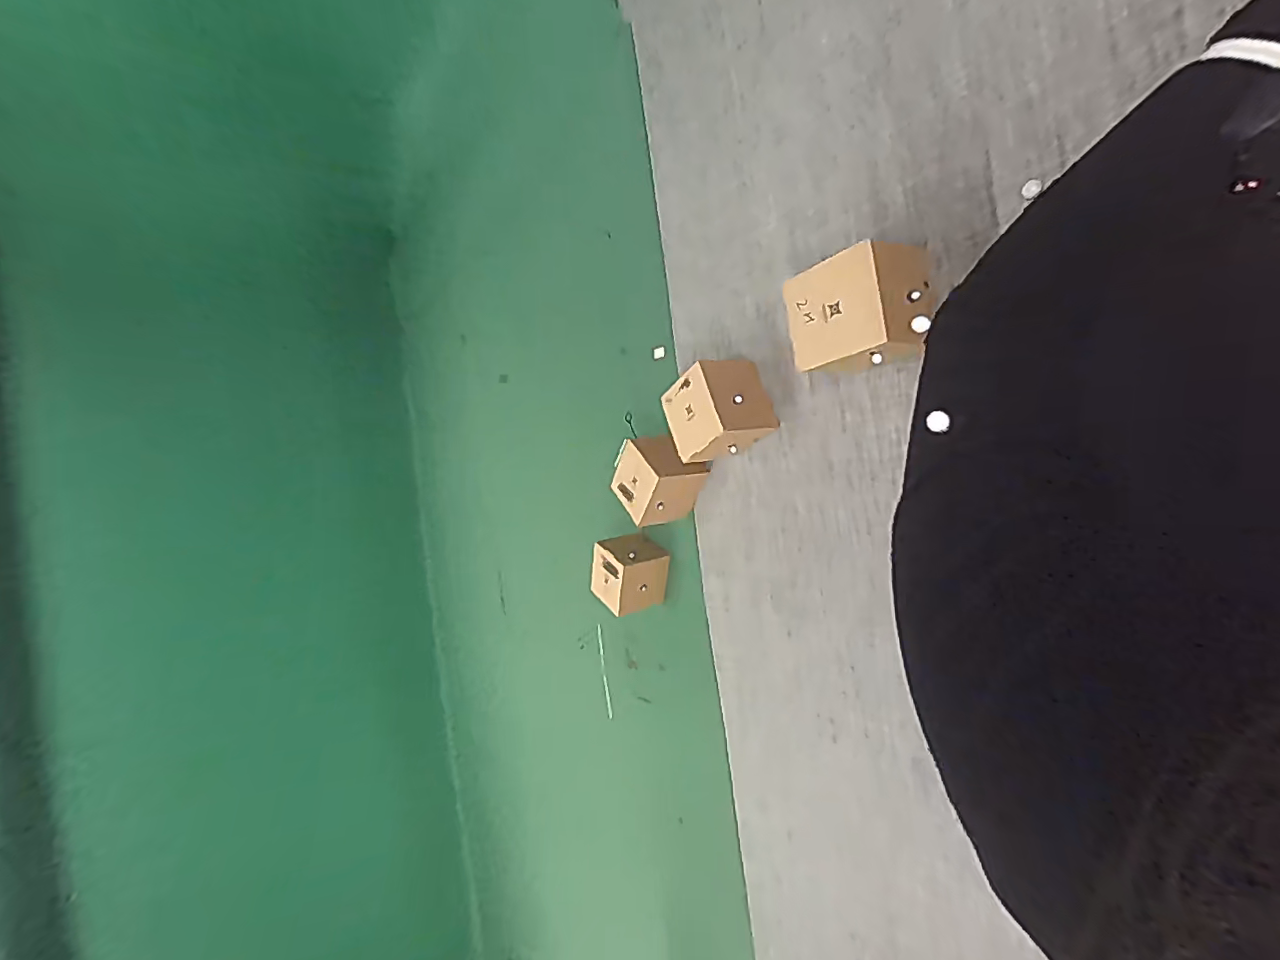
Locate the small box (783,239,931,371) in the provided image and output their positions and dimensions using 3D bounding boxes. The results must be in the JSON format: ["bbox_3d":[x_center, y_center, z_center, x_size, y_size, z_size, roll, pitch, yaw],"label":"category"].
[{"bbox_3d":[0.380,-0.292,0.938,0.179,0.176,0.168,-11,87,55],"label":"small box"}]

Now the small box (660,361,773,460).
[{"bbox_3d":[0.179,-0.164,1.257,0.168,0.176,0.179,-38,66,52],"label":"small box"}]

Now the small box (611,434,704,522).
[{"bbox_3d":[0.048,-0.009,1.477,0.168,0.176,0.179,54,136,36],"label":"small box"}]
